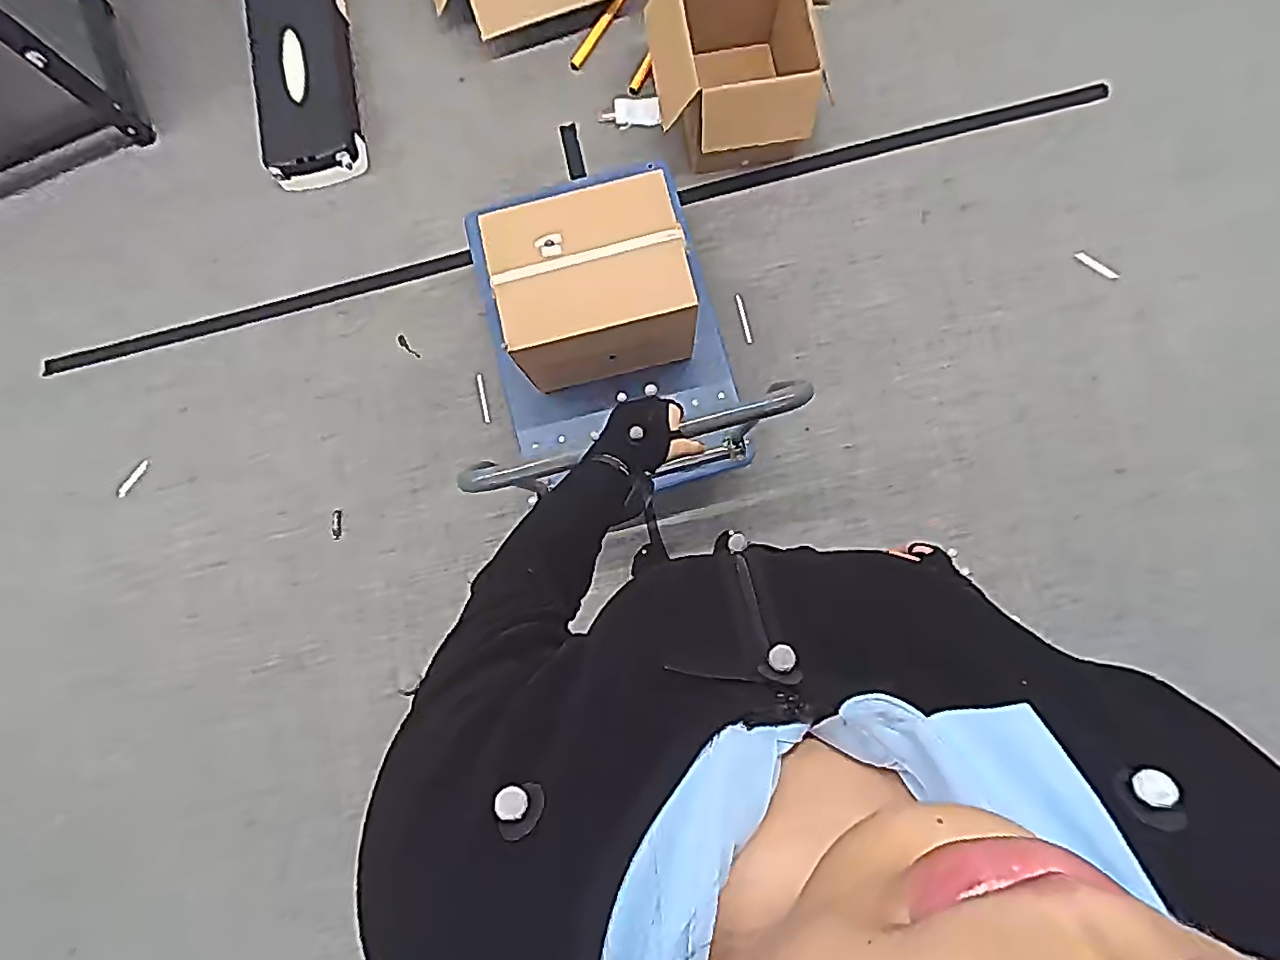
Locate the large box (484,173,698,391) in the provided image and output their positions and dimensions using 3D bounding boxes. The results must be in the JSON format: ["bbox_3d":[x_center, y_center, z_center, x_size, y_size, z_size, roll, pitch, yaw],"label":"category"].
[{"bbox_3d":[-0.098,-0.440,1.278,0.408,0.320,0.320,-14,81,2],"label":"large box"}]
